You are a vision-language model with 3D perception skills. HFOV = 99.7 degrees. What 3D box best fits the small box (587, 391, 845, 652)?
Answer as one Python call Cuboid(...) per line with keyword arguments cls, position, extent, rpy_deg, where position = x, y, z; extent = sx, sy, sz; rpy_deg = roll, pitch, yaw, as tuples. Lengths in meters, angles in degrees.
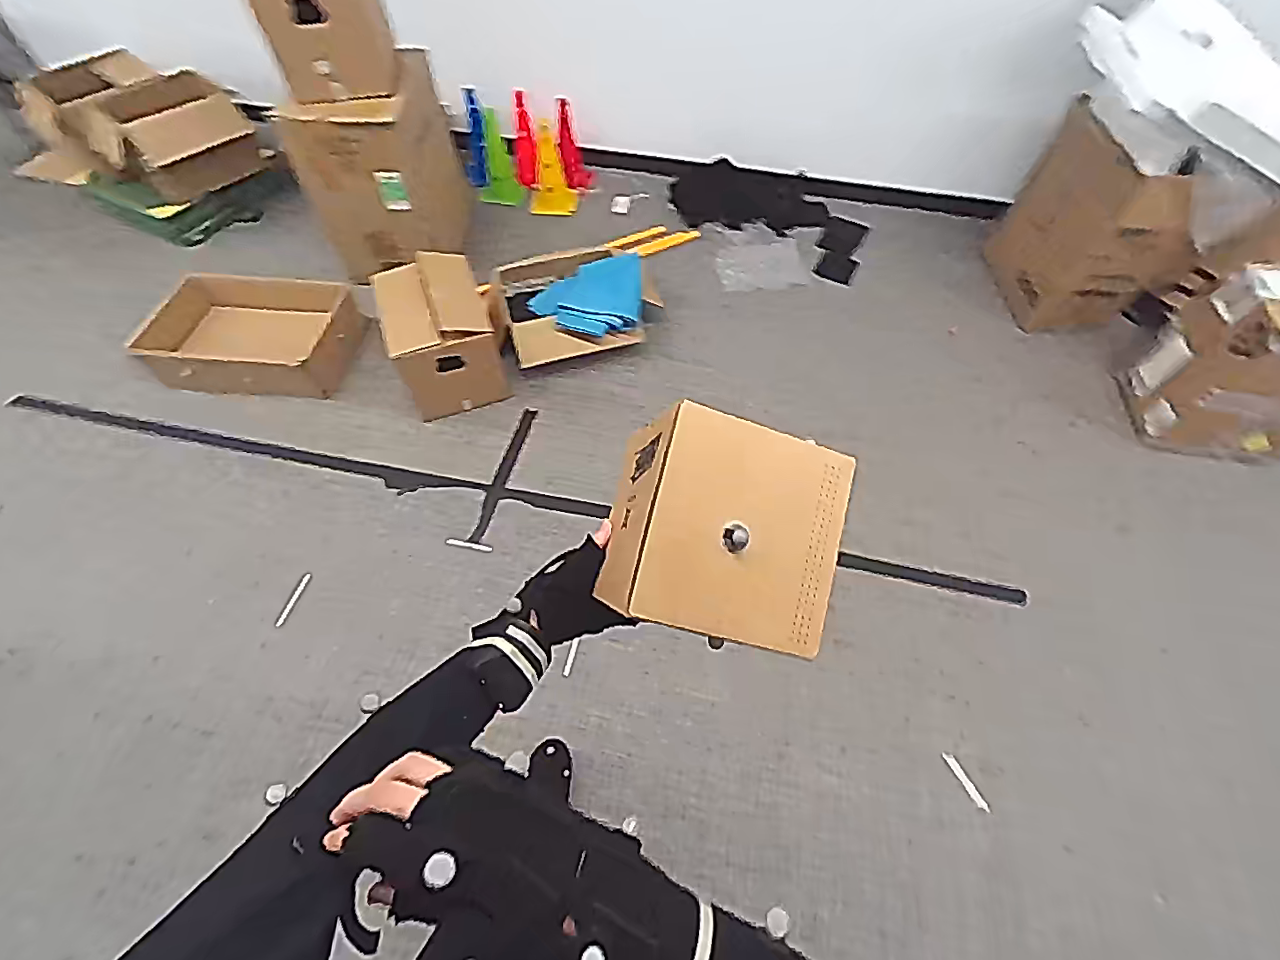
Cuboid(cls="small box", position=(0.064, 0.042, 0.504), extent=(0.176, 0.168, 0.179), rpy_deg=(17, 80, -11))
